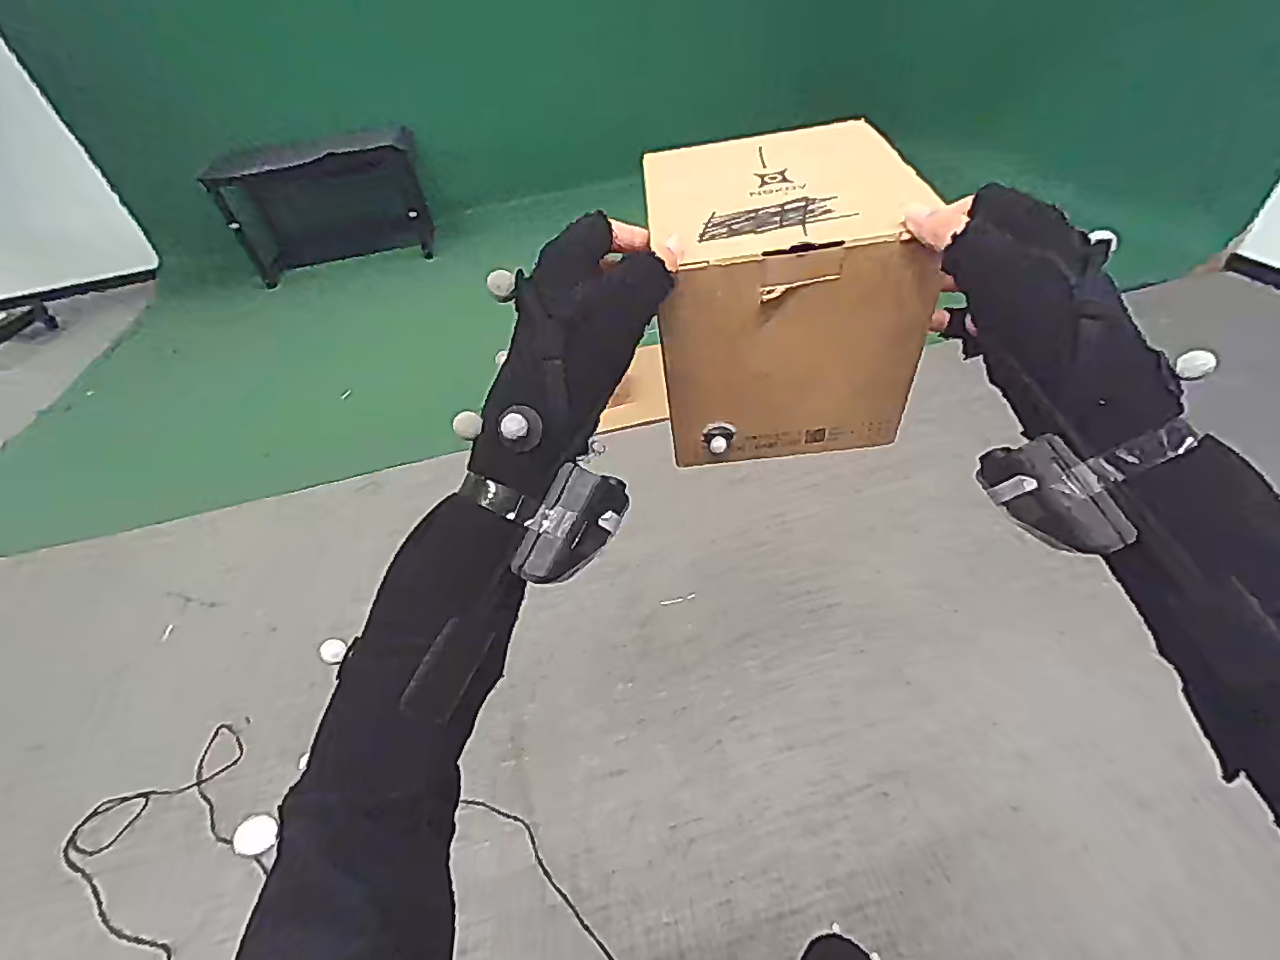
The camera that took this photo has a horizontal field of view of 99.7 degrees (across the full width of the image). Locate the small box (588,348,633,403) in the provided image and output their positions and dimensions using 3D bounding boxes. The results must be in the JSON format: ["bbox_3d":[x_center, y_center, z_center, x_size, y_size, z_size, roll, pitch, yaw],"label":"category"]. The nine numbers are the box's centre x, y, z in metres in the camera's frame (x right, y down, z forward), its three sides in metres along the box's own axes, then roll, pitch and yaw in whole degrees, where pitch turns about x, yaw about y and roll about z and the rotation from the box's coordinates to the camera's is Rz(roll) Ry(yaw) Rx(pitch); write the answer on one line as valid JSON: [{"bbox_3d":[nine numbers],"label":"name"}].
[{"bbox_3d":[-0.133,-0.479,2.482,0.168,0.176,0.179,-14,45,-3],"label":"small box"}]

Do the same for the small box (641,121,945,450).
[{"bbox_3d":[0.095,-0.136,0.408,0.168,0.176,0.179,-6,48,5],"label":"small box"}]
